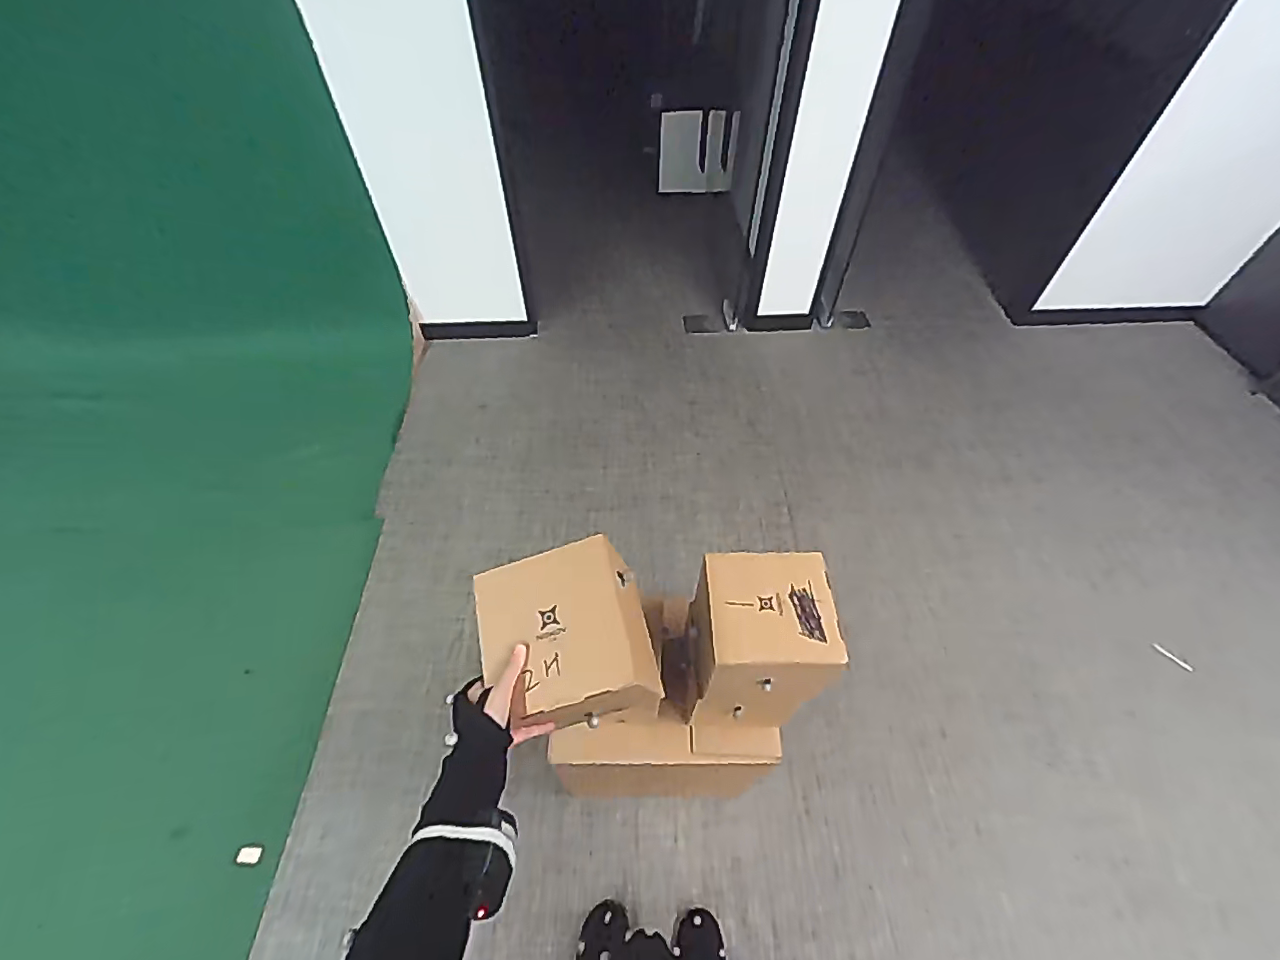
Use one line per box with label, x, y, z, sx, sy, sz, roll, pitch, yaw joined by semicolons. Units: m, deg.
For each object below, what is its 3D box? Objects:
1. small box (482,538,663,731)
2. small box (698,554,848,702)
small box;-0.079;0.199;0.674;0.168;0.176;0.179;-18;61;5
small box;0.184;0.224;0.807;0.179;0.176;0.168;0;53;1
